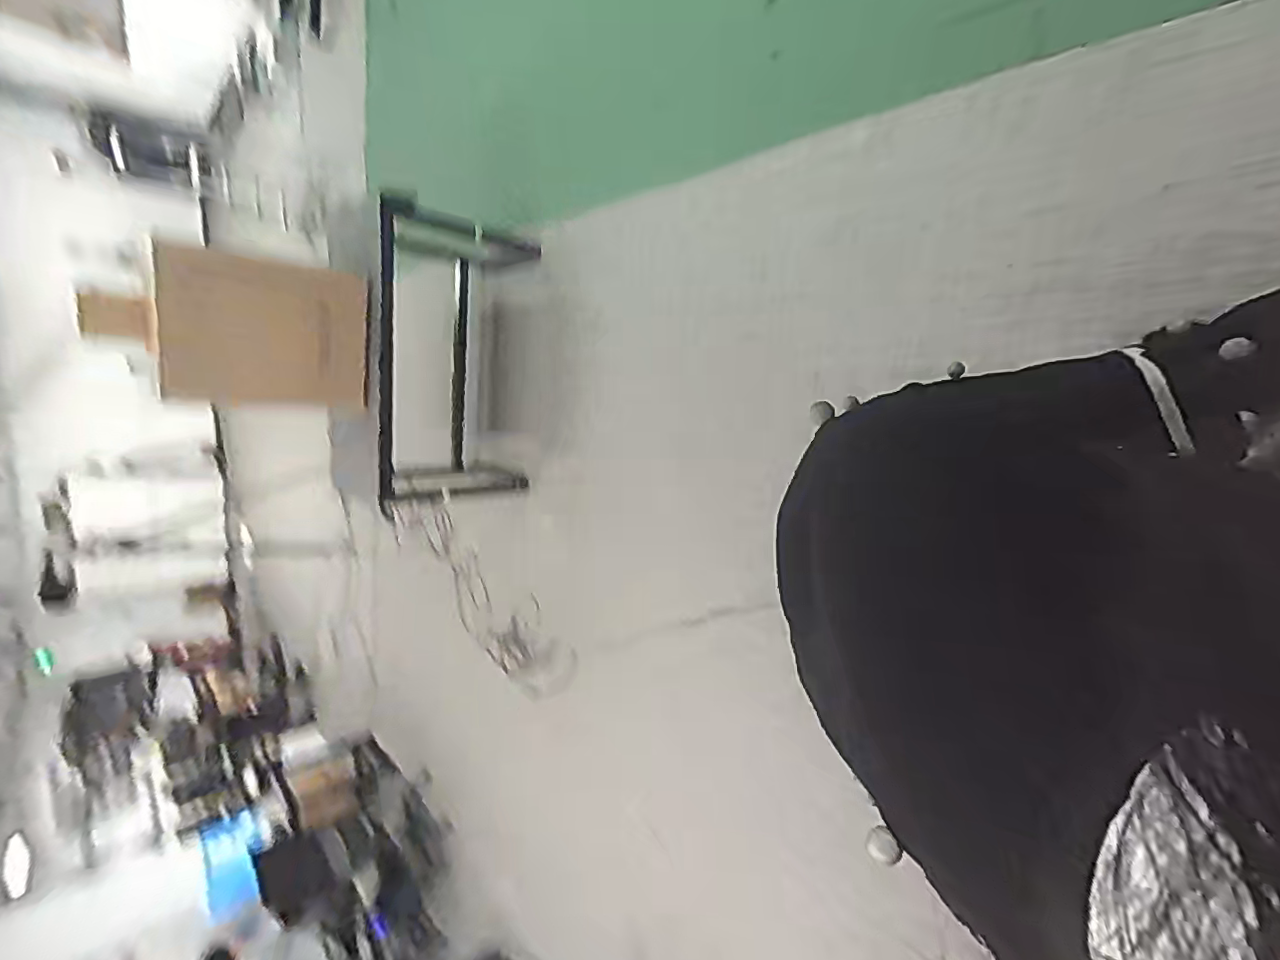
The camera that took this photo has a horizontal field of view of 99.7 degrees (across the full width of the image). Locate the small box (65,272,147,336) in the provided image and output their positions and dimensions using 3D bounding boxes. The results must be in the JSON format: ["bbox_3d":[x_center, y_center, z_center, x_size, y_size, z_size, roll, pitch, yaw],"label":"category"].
[{"bbox_3d":[-1.656,-0.545,1.681,0.179,0.176,0.168,19,108,40],"label":"small box"}]
